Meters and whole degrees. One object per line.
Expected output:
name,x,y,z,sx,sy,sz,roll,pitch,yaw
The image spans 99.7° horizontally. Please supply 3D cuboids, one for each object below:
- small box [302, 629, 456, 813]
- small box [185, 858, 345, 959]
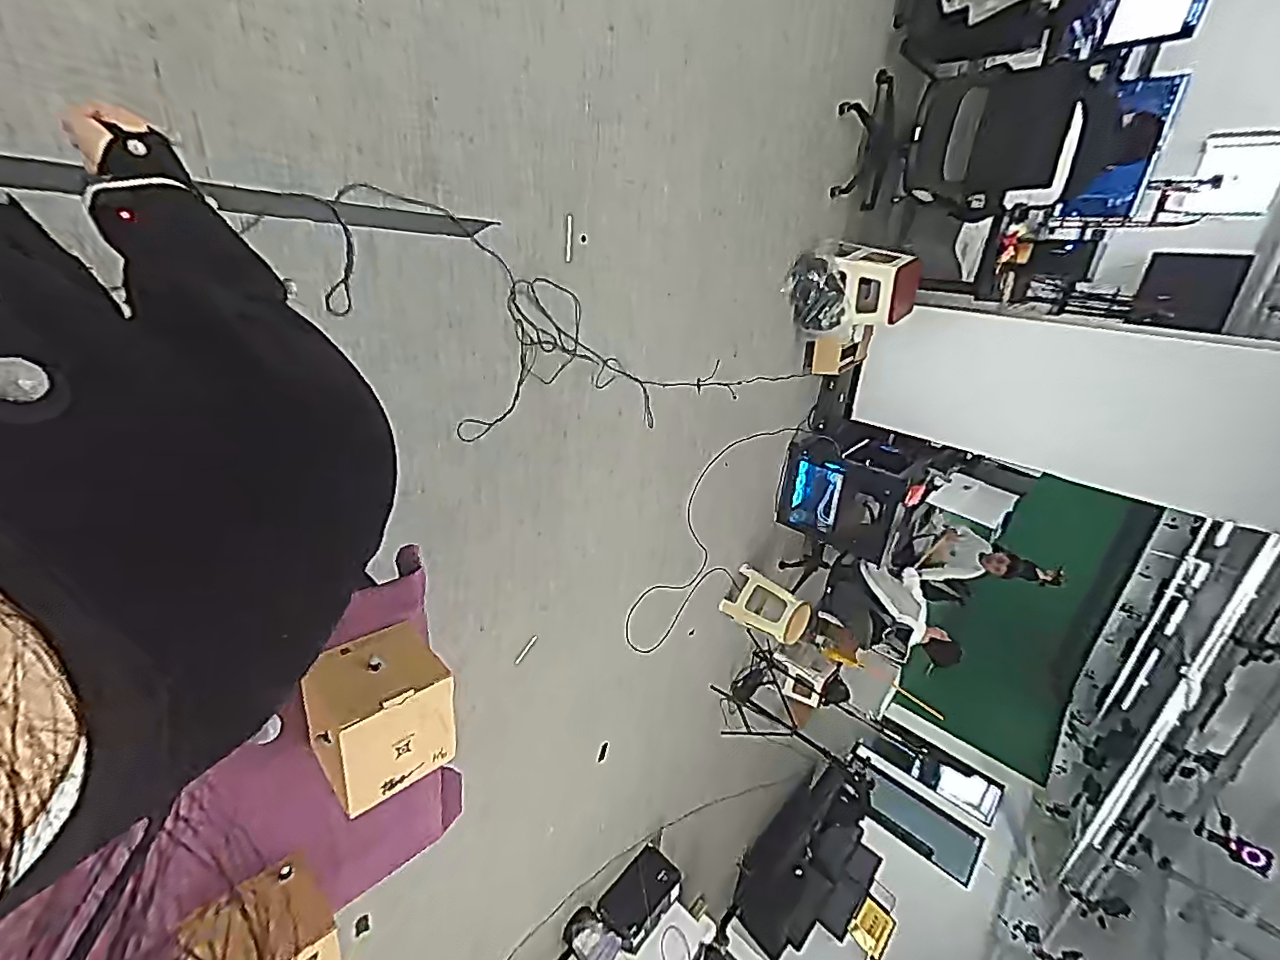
small box,-0.407,0.358,0.848,0.168,0.176,0.179,-16,121,-44
small box,-0.582,0.744,0.846,0.168,0.176,0.179,-15,120,-45
